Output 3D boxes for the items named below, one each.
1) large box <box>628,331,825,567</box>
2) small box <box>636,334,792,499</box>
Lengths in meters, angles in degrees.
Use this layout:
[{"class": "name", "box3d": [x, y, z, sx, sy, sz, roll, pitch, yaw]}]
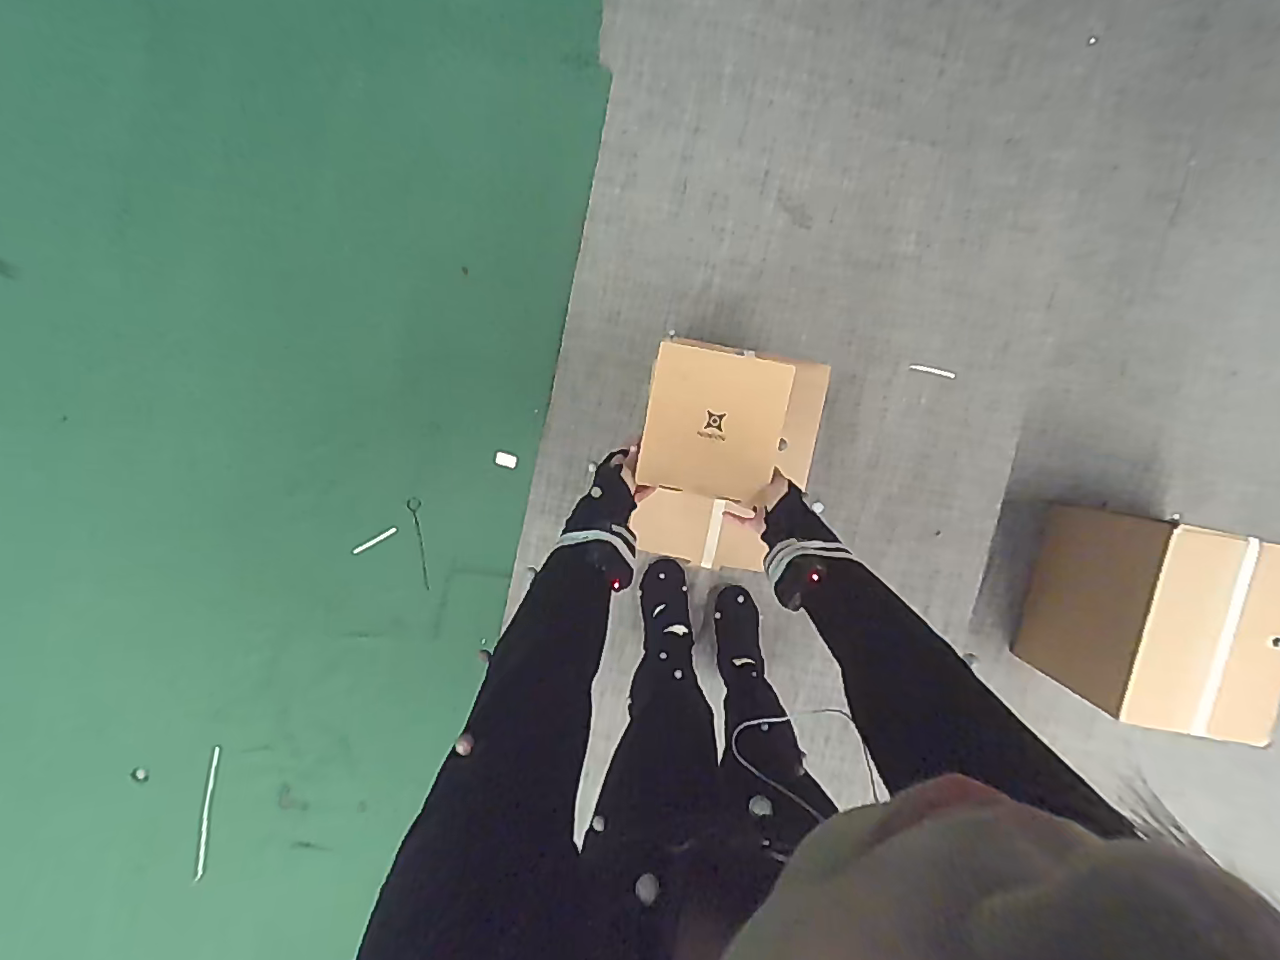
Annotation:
[{"class": "large box", "box3d": [0.160, -0.065, 1.149, 0.320, 0.320, 0.408, 10, 96, -1]}, {"class": "small box", "box3d": [0.090, -0.082, 0.733, 0.168, 0.176, 0.179, 10, 96, 1]}]
